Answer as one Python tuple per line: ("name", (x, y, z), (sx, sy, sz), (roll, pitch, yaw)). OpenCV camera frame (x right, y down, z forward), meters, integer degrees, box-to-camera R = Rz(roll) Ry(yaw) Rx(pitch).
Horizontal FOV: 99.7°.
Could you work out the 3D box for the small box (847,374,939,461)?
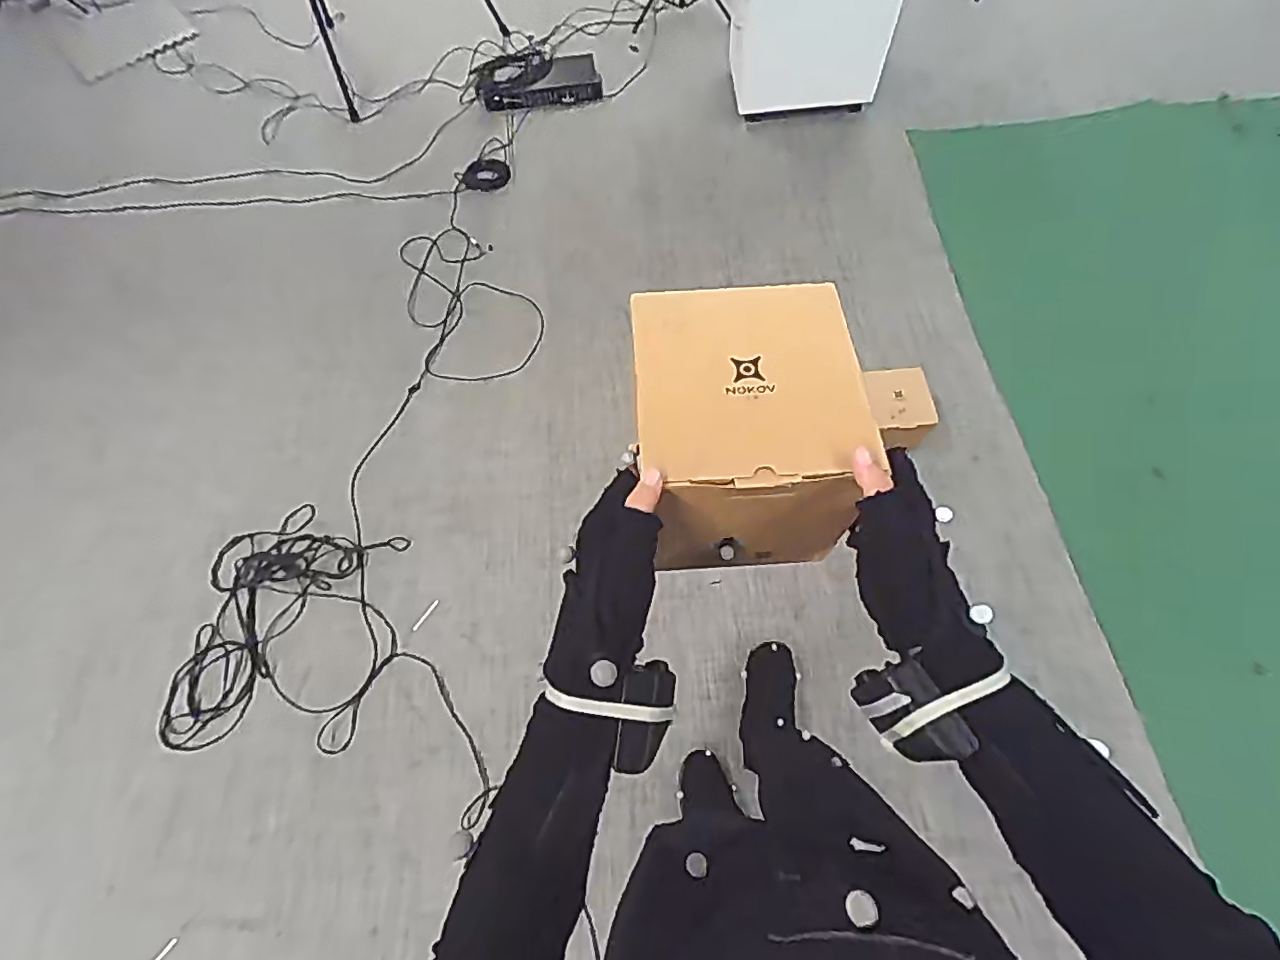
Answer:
("small box", (0.687, -0.169, 1.492), (0.168, 0.176, 0.179), (-5, 66, 3))
